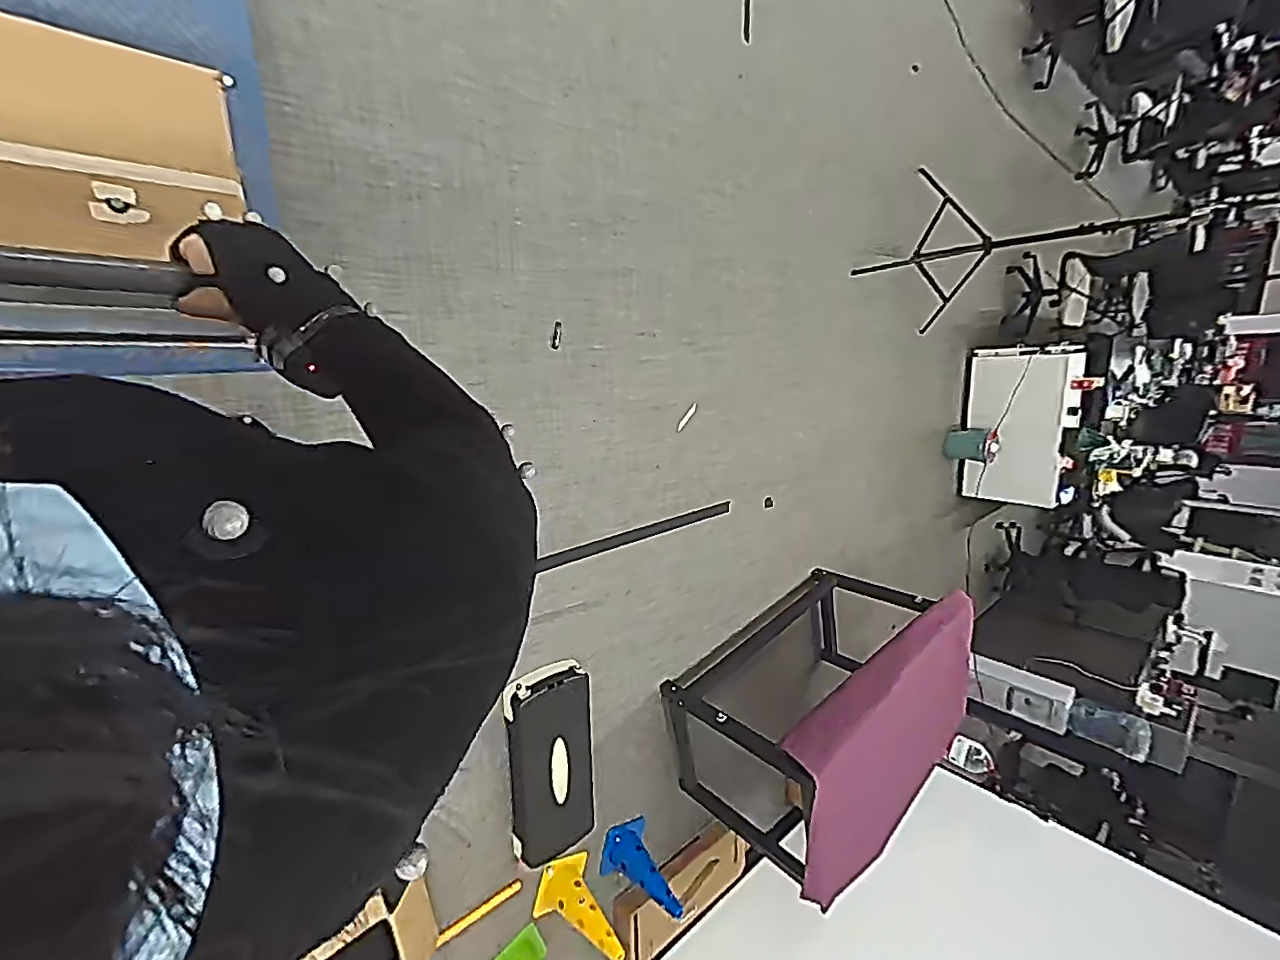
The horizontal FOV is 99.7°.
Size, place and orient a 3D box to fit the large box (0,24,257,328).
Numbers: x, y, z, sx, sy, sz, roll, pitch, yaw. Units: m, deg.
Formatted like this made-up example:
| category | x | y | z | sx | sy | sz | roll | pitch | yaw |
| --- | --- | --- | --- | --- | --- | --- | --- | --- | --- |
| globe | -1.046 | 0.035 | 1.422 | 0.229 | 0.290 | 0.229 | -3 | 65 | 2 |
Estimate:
| category | x | y | z | sx | sy | sz | roll | pitch | yaw |
| --- | --- | --- | --- | --- | --- | --- | --- | --- | --- |
| large box | -0.829 | -0.395 | 0.768 | 0.408 | 0.320 | 0.320 | -10 | 104 | -40 |
